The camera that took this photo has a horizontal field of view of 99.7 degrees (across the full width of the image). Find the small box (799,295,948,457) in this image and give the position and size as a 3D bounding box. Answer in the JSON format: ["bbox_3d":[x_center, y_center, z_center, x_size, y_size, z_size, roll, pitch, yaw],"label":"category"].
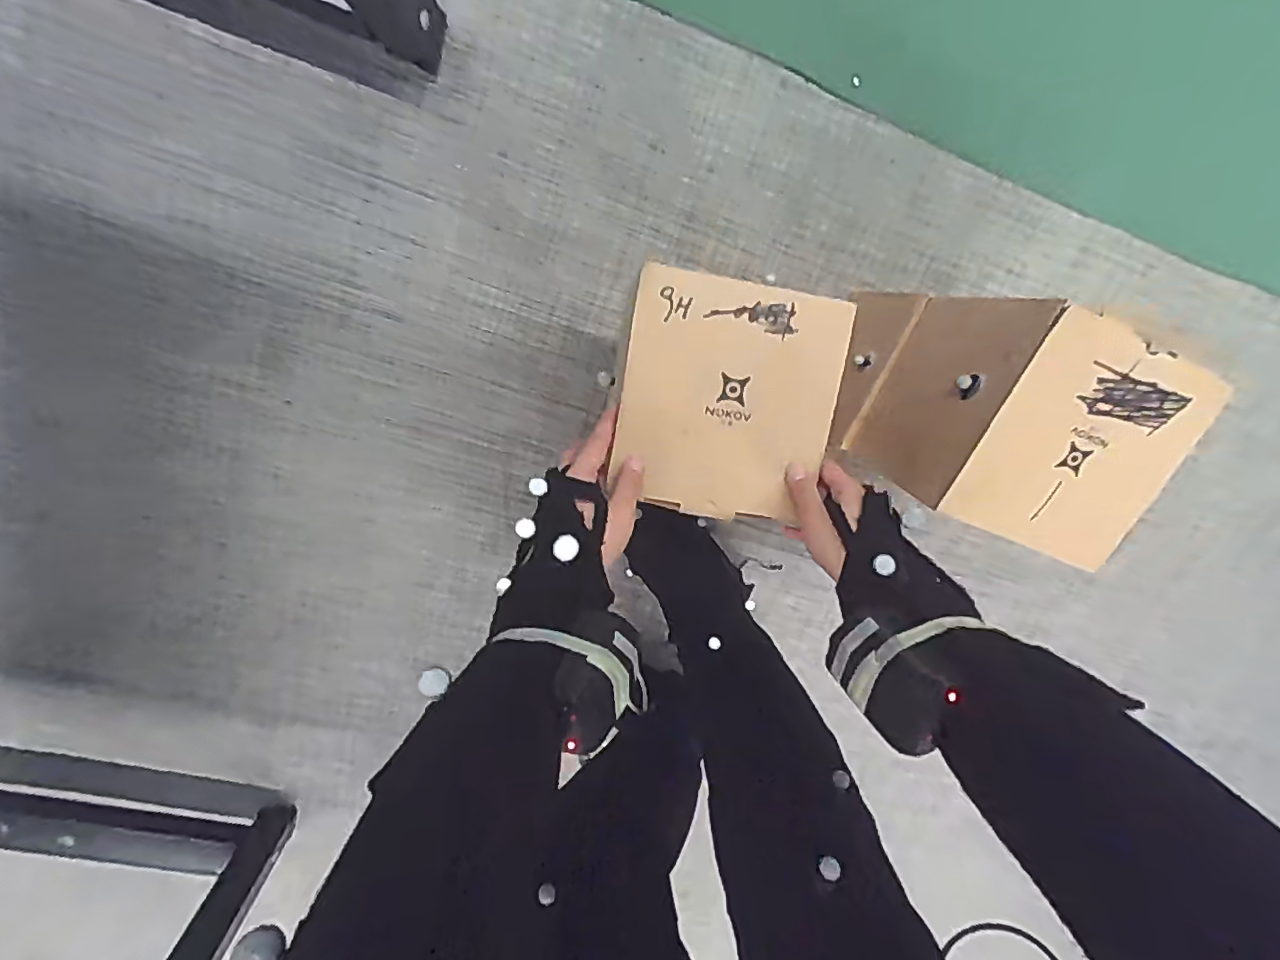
[{"bbox_3d":[0.318,-0.109,0.652,0.168,0.176,0.179,21,107,-10],"label":"small box"}]

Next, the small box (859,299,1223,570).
[{"bbox_3d":[0.337,-0.052,0.499,0.168,0.176,0.179,21,106,-10],"label":"small box"}]
